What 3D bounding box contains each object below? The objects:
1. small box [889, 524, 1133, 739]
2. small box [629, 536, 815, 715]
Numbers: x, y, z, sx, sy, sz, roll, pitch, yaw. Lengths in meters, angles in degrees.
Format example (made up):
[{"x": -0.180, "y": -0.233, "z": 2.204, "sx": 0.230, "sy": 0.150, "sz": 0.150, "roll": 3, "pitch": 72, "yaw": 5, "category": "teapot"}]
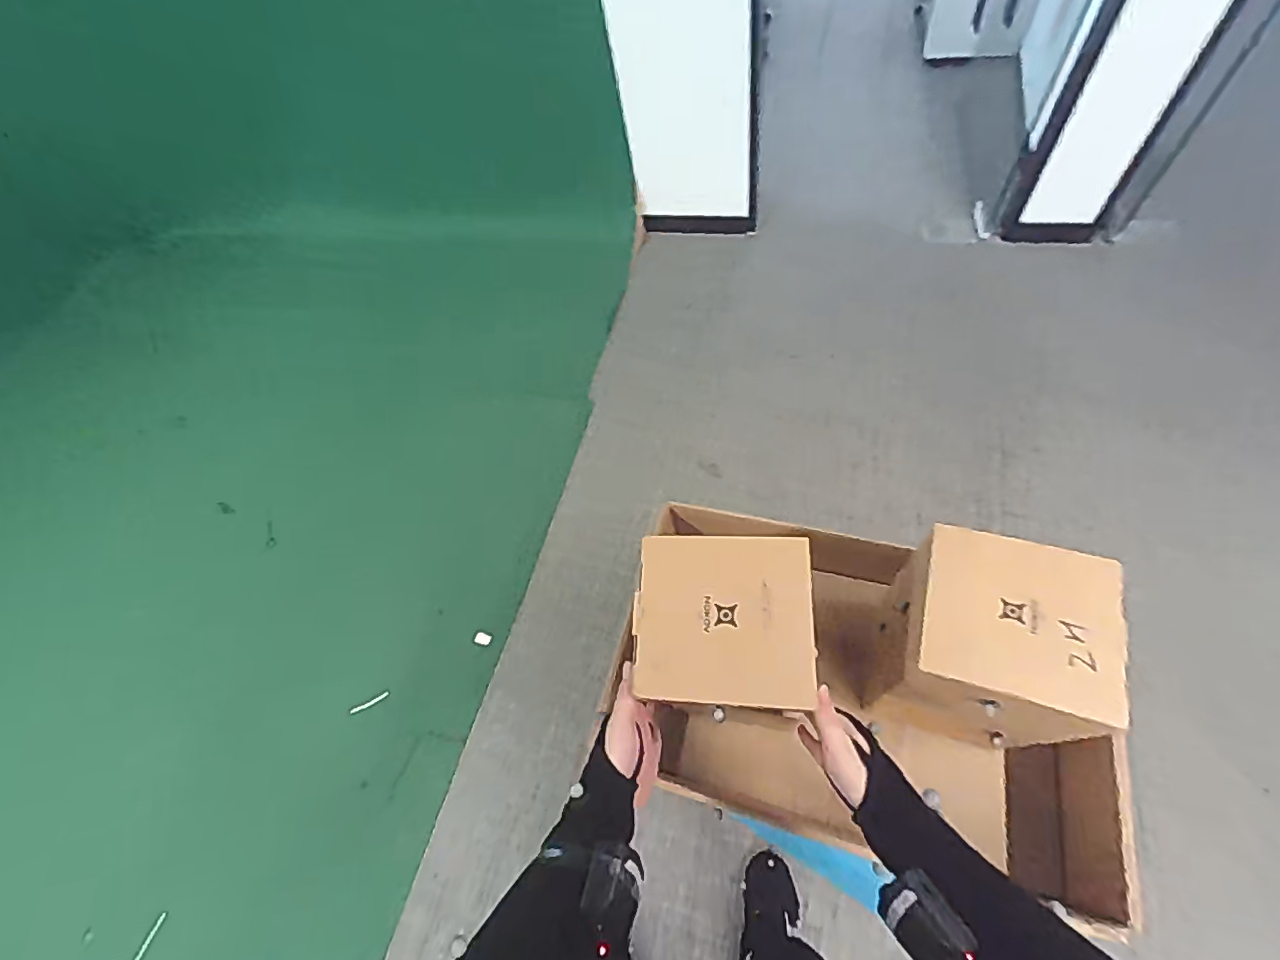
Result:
[{"x": 0.394, "y": 0.174, "z": 0.603, "sx": 0.179, "sy": 0.176, "sz": 0.168, "roll": 14, "pitch": 64, "yaw": 17, "category": "small box"}, {"x": 0.096, "y": 0.167, "z": 0.604, "sx": 0.179, "sy": 0.176, "sz": 0.168, "roll": 0, "pitch": 68, "yaw": 12, "category": "small box"}]
